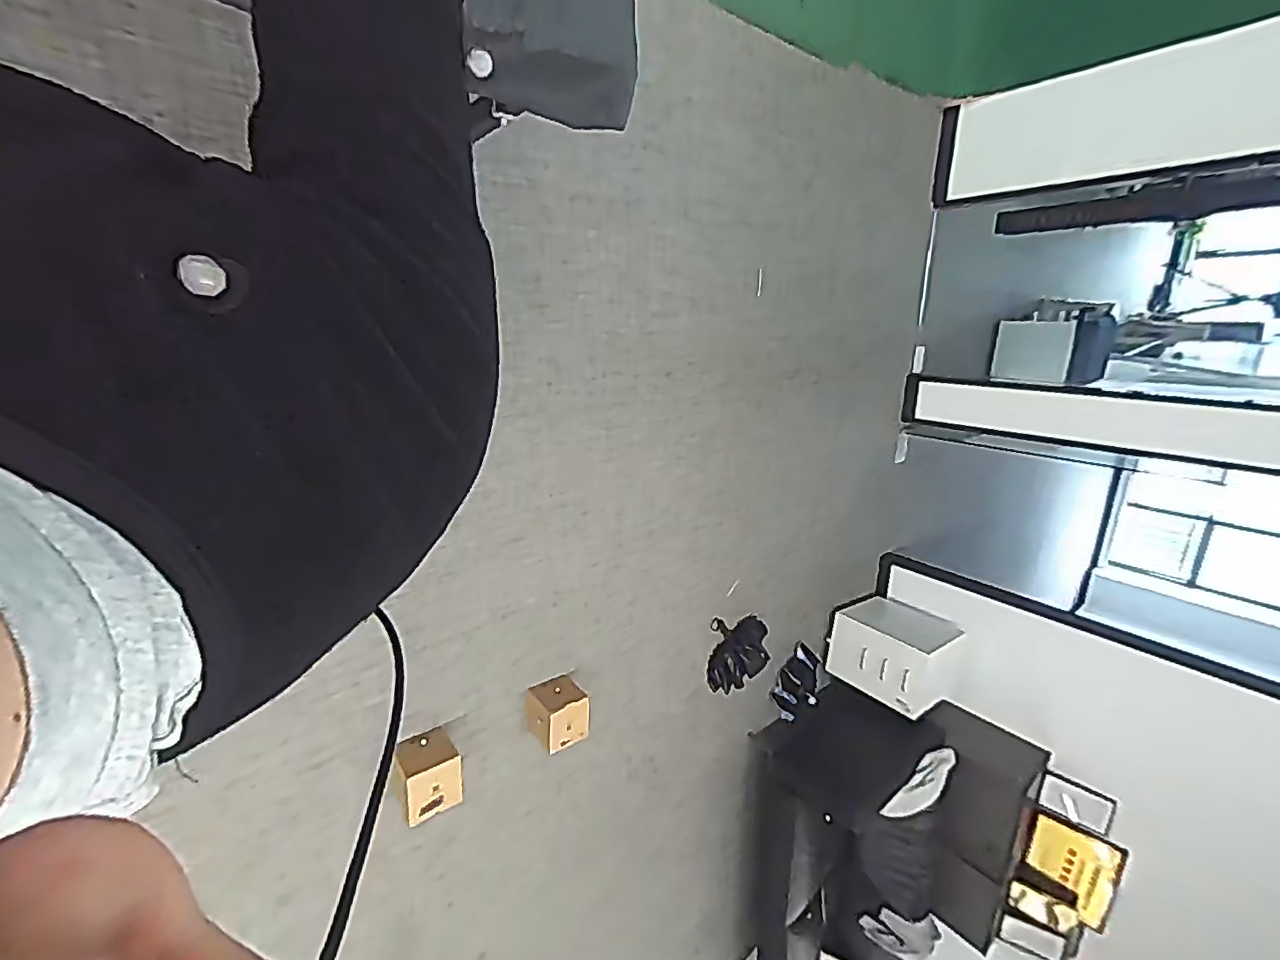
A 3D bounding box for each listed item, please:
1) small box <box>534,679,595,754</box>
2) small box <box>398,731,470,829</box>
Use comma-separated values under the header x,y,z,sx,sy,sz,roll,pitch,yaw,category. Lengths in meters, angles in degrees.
x,y,z,sx,sy,sz,roll,pitch,yaw,category
-0.282,0.861,1.997,0.168,0.176,0.179,-10,108,-38,small box
-0.649,0.934,1.701,0.168,0.176,0.179,-10,107,-39,small box
